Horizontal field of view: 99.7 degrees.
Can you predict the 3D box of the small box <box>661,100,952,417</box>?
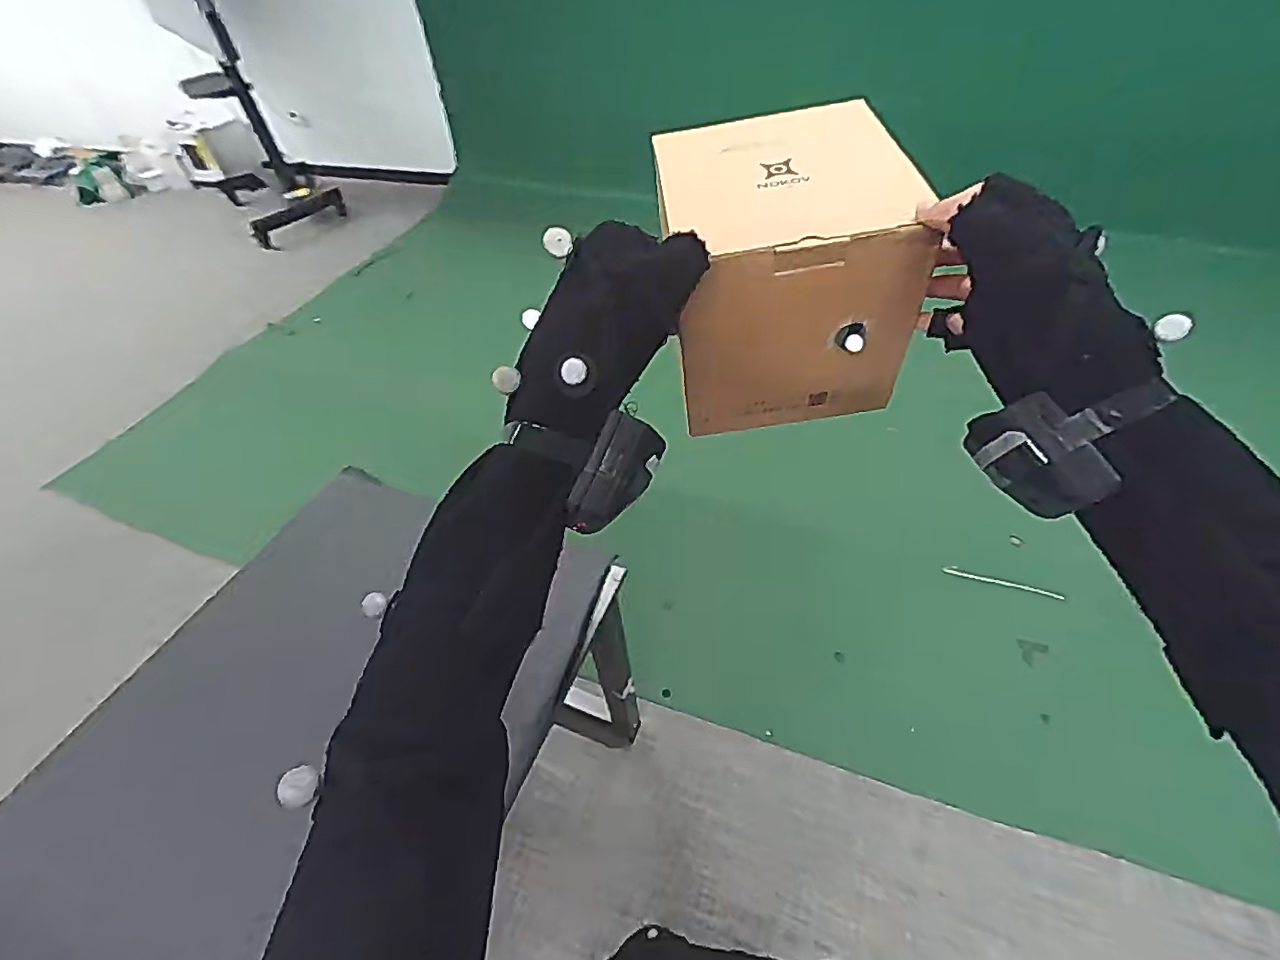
[{"bbox_3d":[0.111,-0.165,0.436,0.168,0.176,0.179,-7,54,4],"label":"small box"}]
